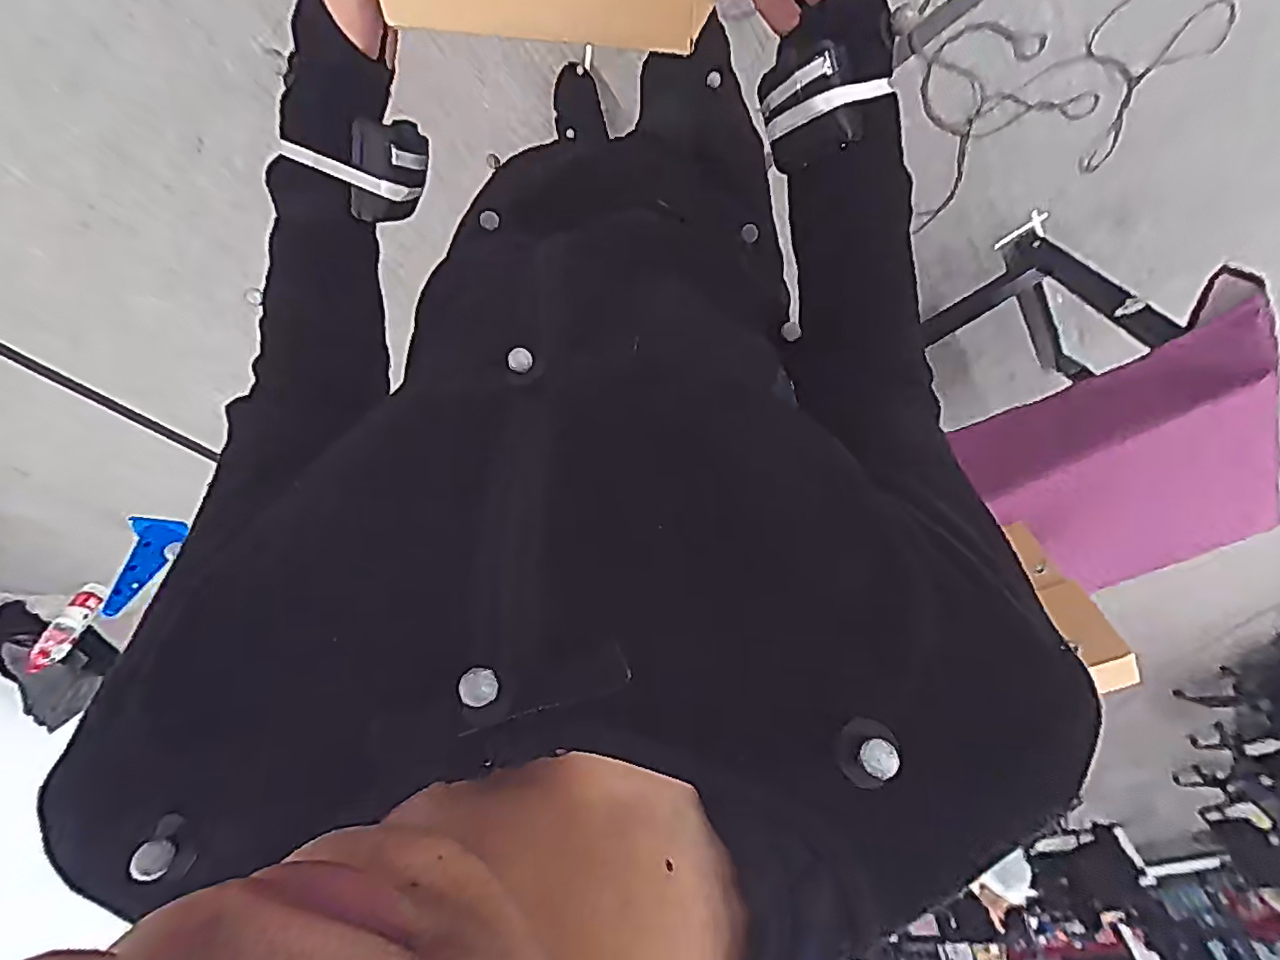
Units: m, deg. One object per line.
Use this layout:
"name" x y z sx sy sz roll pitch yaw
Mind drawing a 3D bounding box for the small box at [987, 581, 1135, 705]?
"small box" 0.859 0.333 1.111 0.179 0.176 0.168 -30 130 23

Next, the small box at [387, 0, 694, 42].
"small box" -0.034 -0.344 0.251 0.168 0.176 0.179 11 144 8
